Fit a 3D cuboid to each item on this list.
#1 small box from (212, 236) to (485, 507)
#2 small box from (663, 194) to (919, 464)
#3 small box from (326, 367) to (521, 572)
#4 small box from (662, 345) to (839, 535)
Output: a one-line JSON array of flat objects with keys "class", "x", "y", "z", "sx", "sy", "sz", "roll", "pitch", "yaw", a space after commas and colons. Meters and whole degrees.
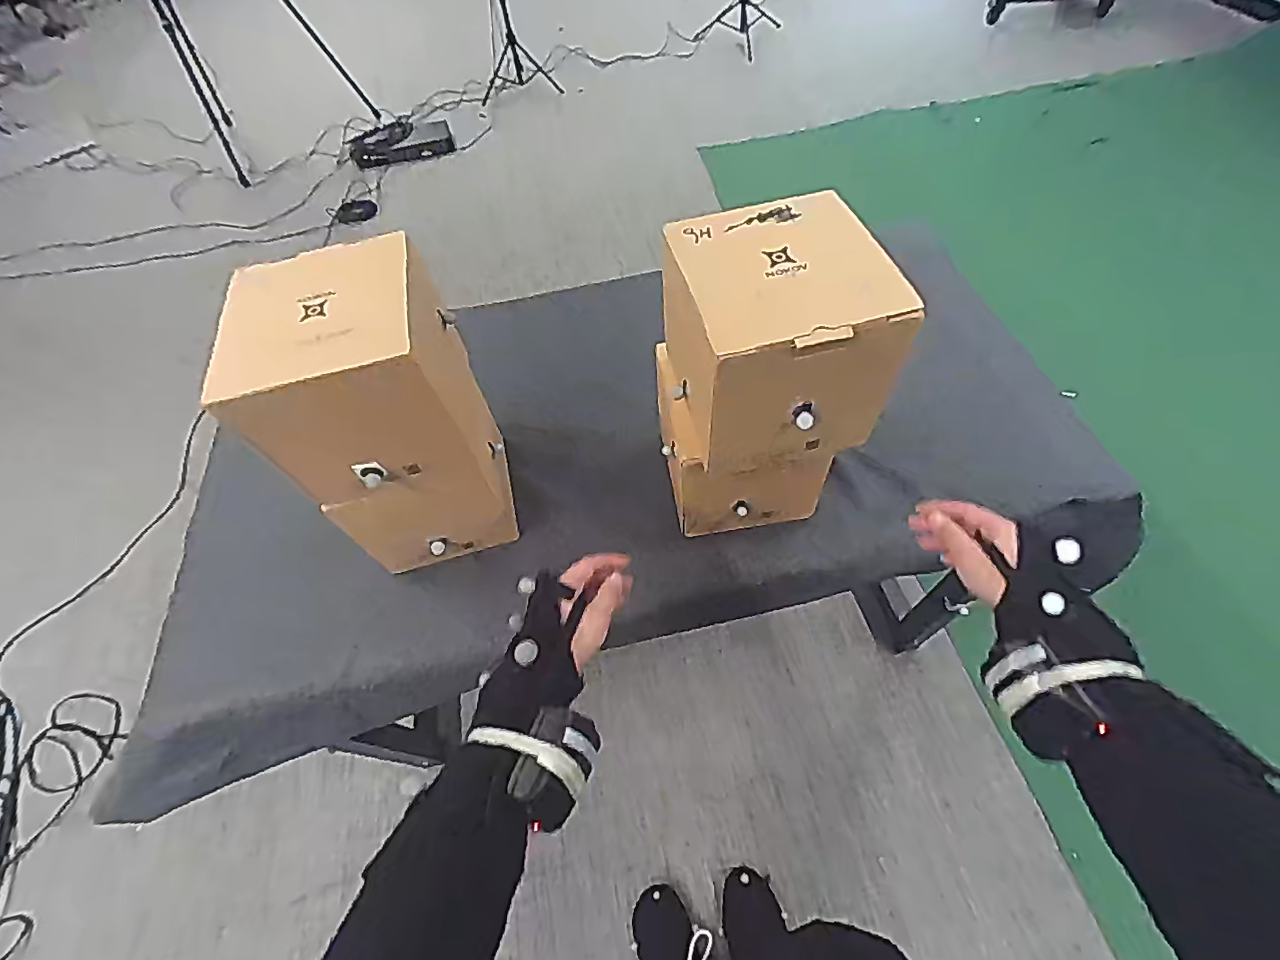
[{"class": "small box", "x": -0.266, "y": -0.101, "z": 0.534, "sx": 0.168, "sy": 0.176, "sz": 0.179, "roll": -16, "pitch": 58, "yaw": -3}, {"class": "small box", "x": 0.124, "y": -0.132, "z": 0.516, "sx": 0.168, "sy": 0.176, "sz": 0.179, "roll": -13, "pitch": 58, "yaw": -3}, {"class": "small box", "x": -0.257, "y": -0.012, "z": 0.670, "sx": 0.168, "sy": 0.176, "sz": 0.179, "roll": -16, "pitch": 57, "yaw": -4}, {"class": "small box", "x": 0.120, "y": -0.056, "z": 0.663, "sx": 0.168, "sy": 0.176, "sz": 0.179, "roll": -10, "pitch": 57, "yaw": -1}]
